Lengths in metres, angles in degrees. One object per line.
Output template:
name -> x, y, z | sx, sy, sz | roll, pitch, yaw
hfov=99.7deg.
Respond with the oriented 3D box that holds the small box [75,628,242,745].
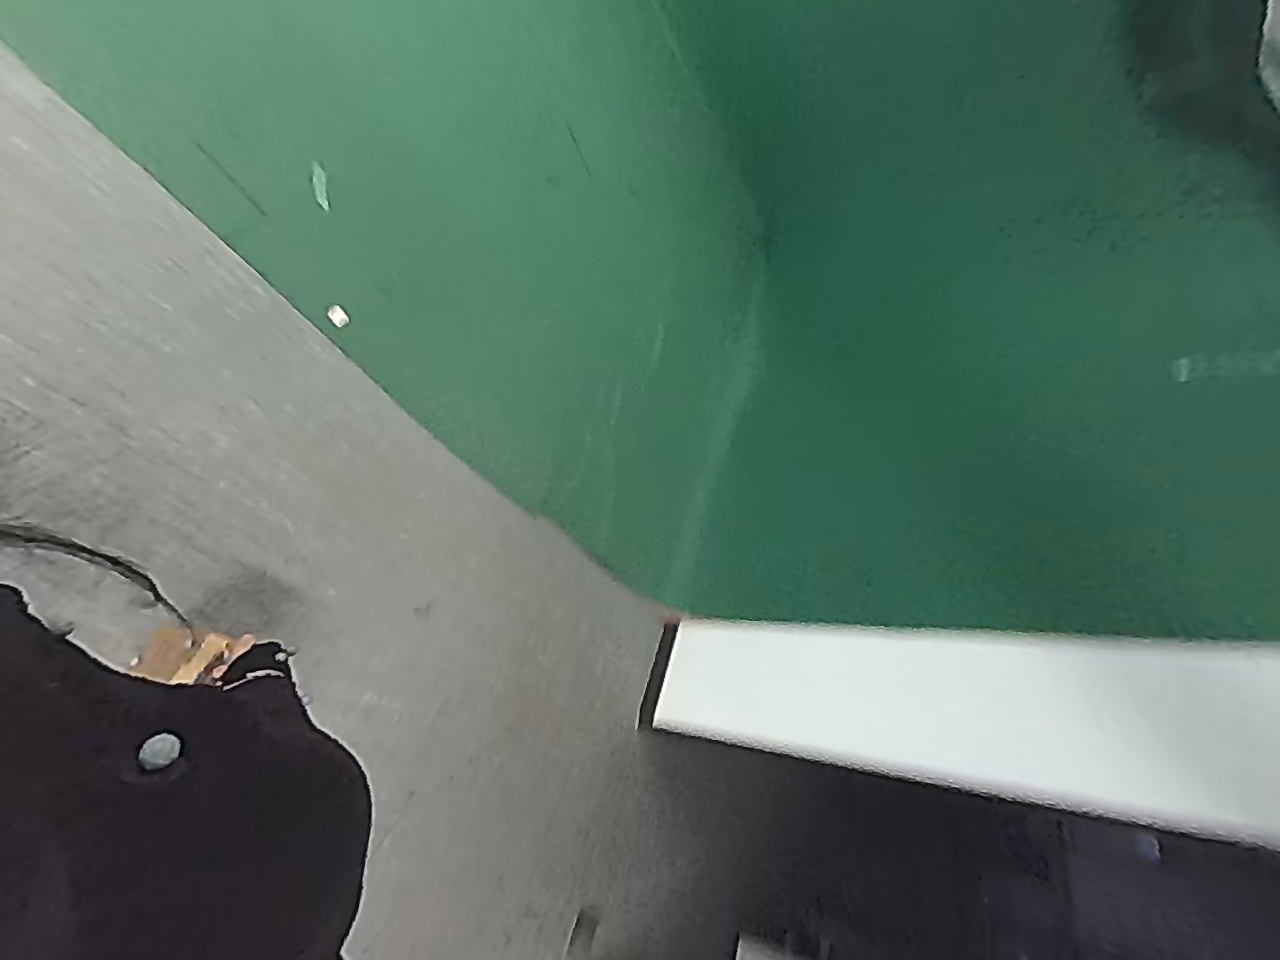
small box -> -0.984, 0.415, 1.109 | 0.179, 0.176, 0.168 | 52, 45, -35
